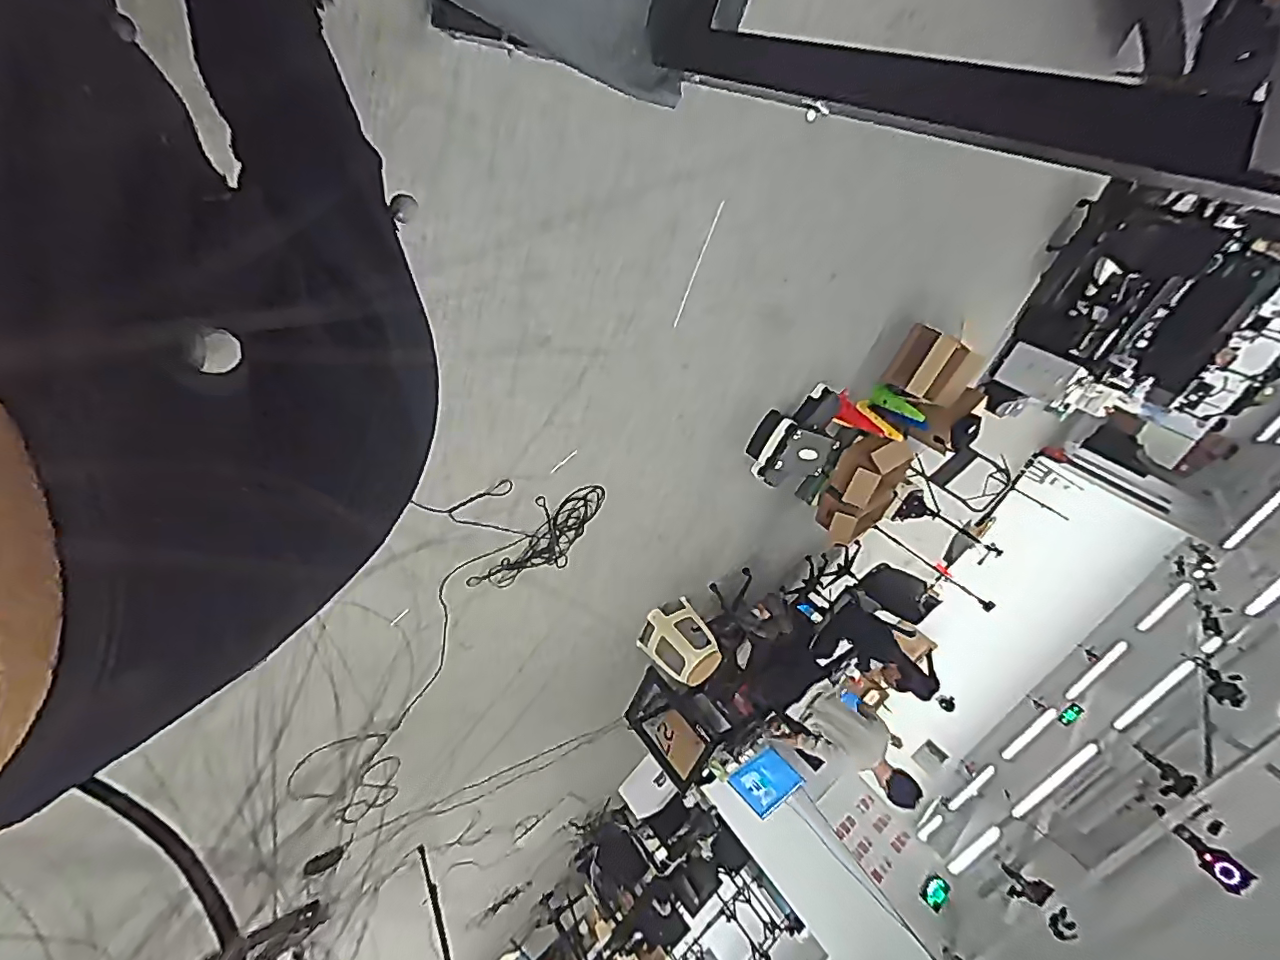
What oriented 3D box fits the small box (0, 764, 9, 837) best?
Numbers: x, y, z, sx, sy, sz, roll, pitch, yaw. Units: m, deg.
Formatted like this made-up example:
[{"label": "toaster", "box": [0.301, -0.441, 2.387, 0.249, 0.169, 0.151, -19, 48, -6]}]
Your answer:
[{"label": "small box", "box": [-1.727, 0.816, 1.349, 0.168, 0.176, 0.179, -13, 133, -40]}]
